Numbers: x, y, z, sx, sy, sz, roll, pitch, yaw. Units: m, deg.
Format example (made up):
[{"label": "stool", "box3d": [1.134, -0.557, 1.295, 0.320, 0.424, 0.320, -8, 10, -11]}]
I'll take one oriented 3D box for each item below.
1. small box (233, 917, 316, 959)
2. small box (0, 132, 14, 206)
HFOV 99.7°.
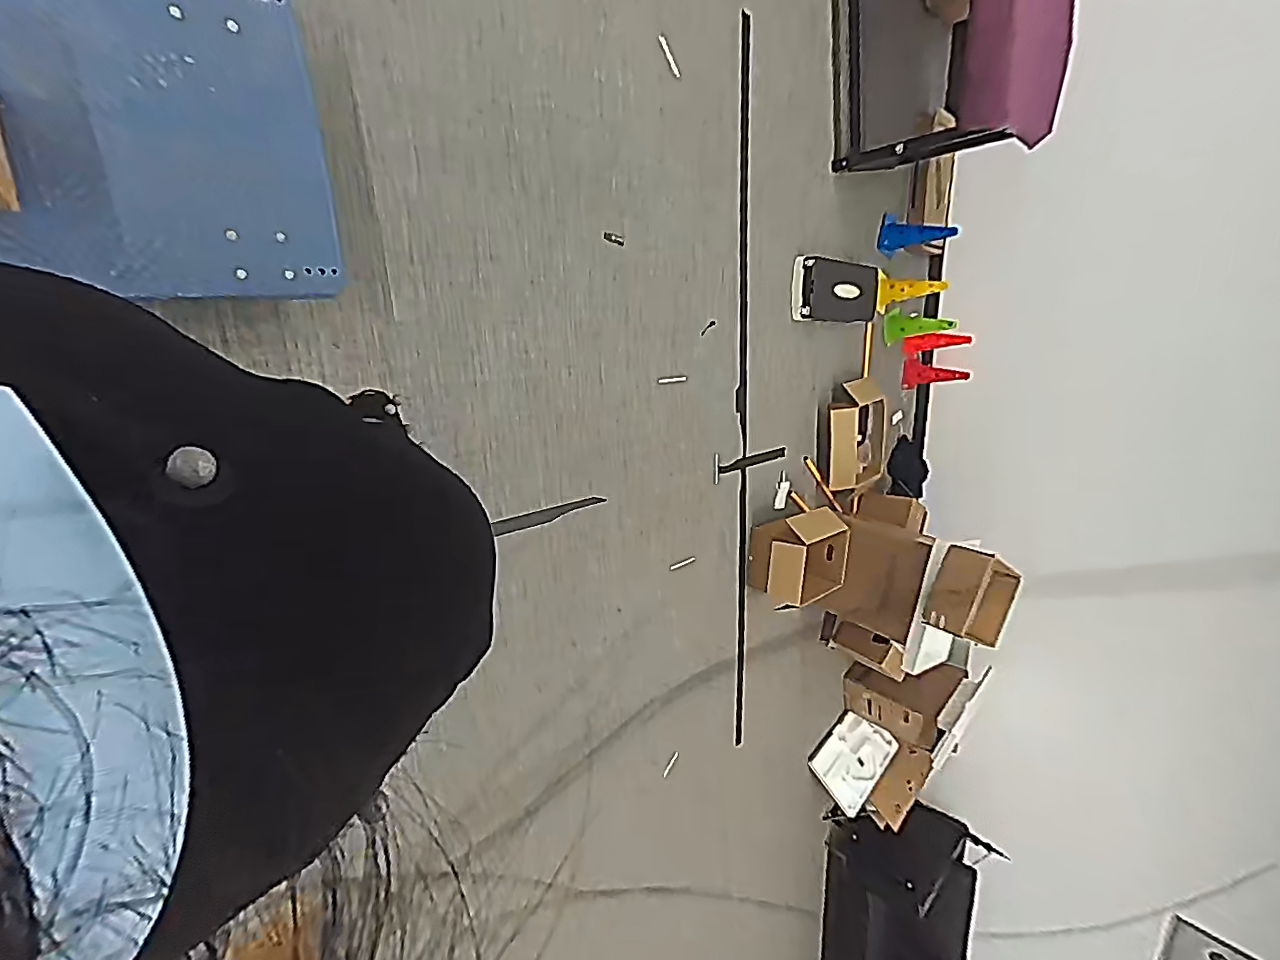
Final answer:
[{"label": "small box", "box3d": [-0.958, 1.332, 1.437, 0.168, 0.176, 0.179, -17, 111, -40]}, {"label": "small box", "box3d": [-0.974, -0.480, 0.709, 0.168, 0.176, 0.179, -12, 109, -40]}]
